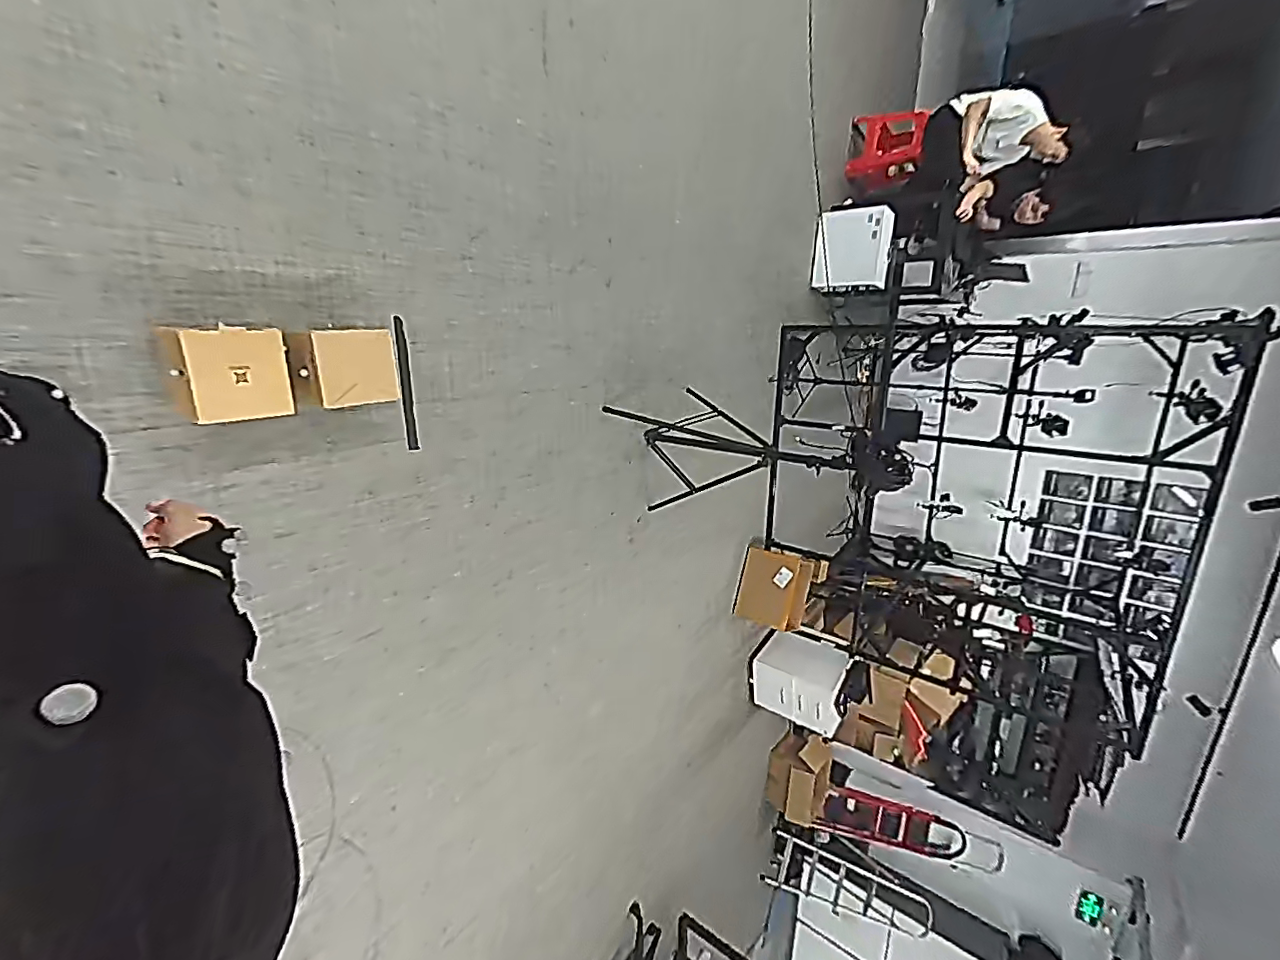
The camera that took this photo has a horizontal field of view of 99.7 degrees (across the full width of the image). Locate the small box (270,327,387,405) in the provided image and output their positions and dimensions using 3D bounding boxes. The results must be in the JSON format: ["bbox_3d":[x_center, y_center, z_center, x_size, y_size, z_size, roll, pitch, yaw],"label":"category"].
[{"bbox_3d":[-0.720,-0.270,1.260,0.179,0.176,0.168,-21,116,-50],"label":"small box"}]

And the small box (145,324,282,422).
[{"bbox_3d":[-0.858,-0.221,1.091,0.168,0.176,0.179,-19,115,-50],"label":"small box"}]
